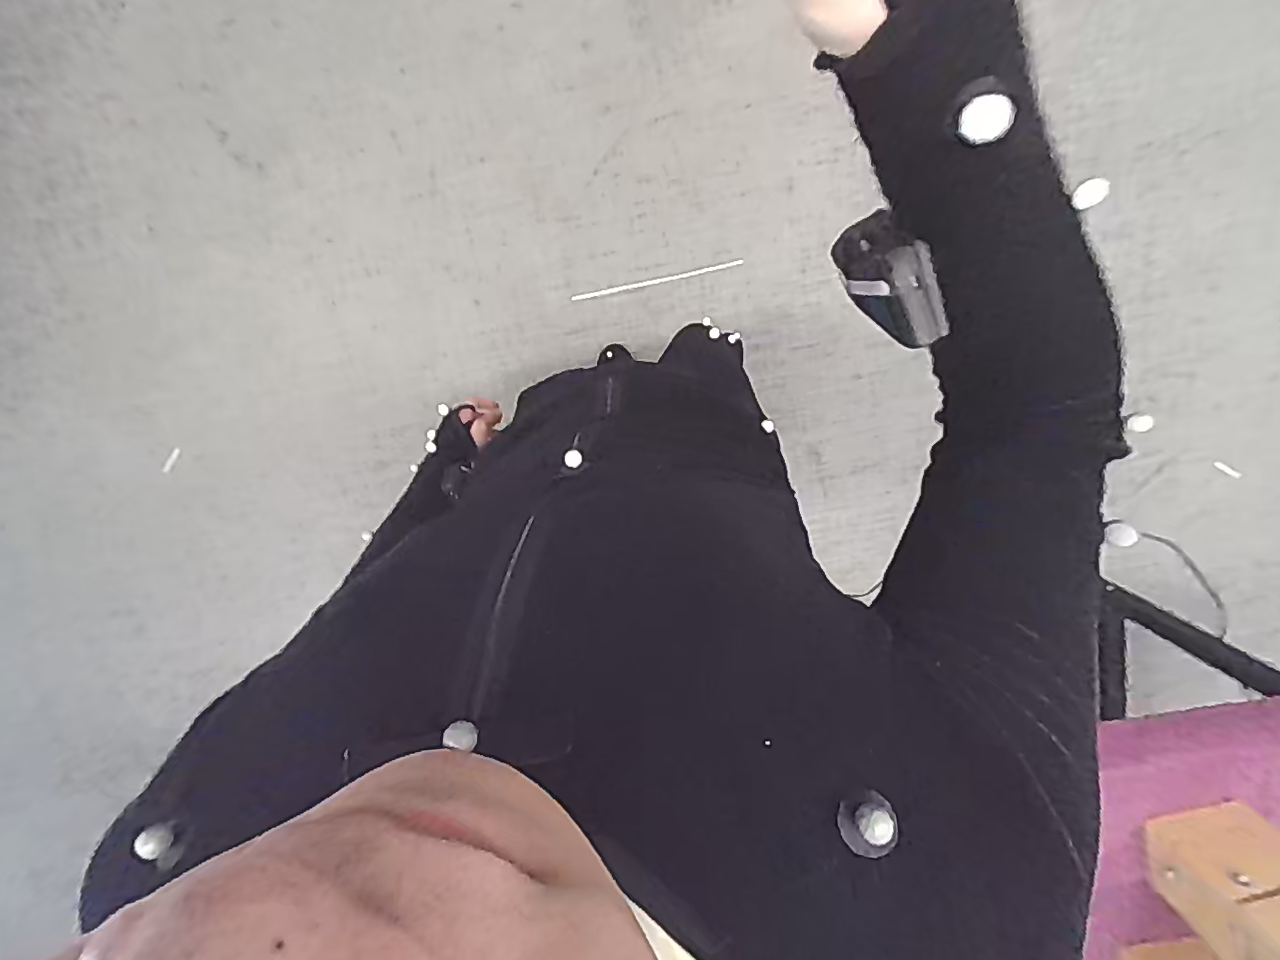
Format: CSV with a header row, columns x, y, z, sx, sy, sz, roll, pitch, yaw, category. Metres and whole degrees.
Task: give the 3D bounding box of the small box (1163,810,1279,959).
x,y,z,sx,sy,sz,roll,pitch,yaw,category
1.078,0.715,0.941,0.179,0.176,0.168,-17,103,6,small box
